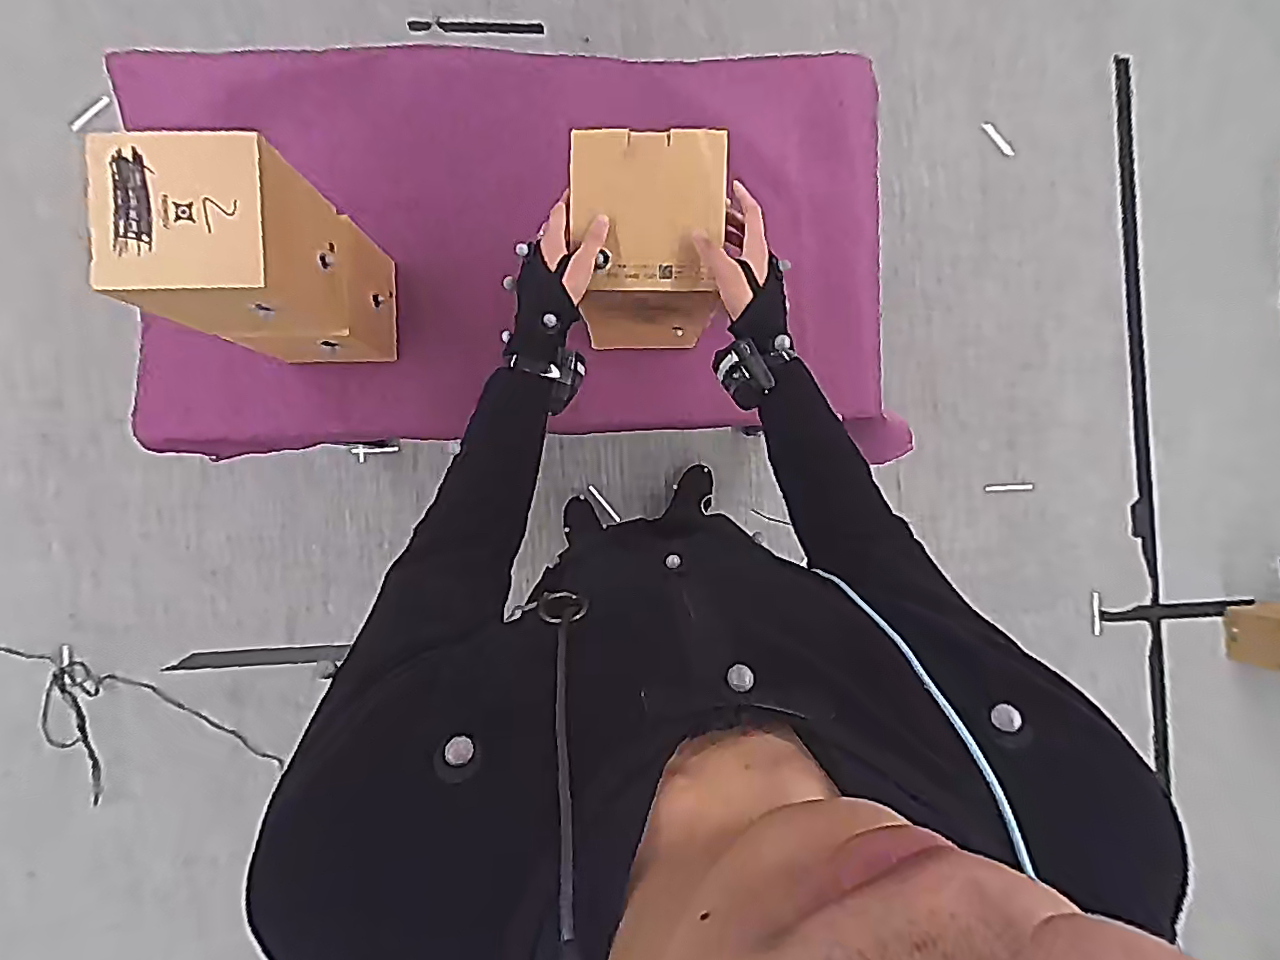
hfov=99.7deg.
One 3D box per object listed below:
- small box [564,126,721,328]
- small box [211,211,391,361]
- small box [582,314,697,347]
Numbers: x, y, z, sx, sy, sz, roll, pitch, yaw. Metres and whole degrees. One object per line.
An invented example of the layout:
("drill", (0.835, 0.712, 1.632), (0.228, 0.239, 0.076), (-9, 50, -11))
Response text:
("small box", (0.007, -0.284, 0.643), (0.168, 0.179, 0.176), (1, 93, 2))
("small box", (-0.486, -0.276, 0.802), (0.179, 0.176, 0.168), (-1, 90, -3))
("small box", (0.001, -0.304, 0.829), (0.179, 0.176, 0.168), (-1, 90, -3))
